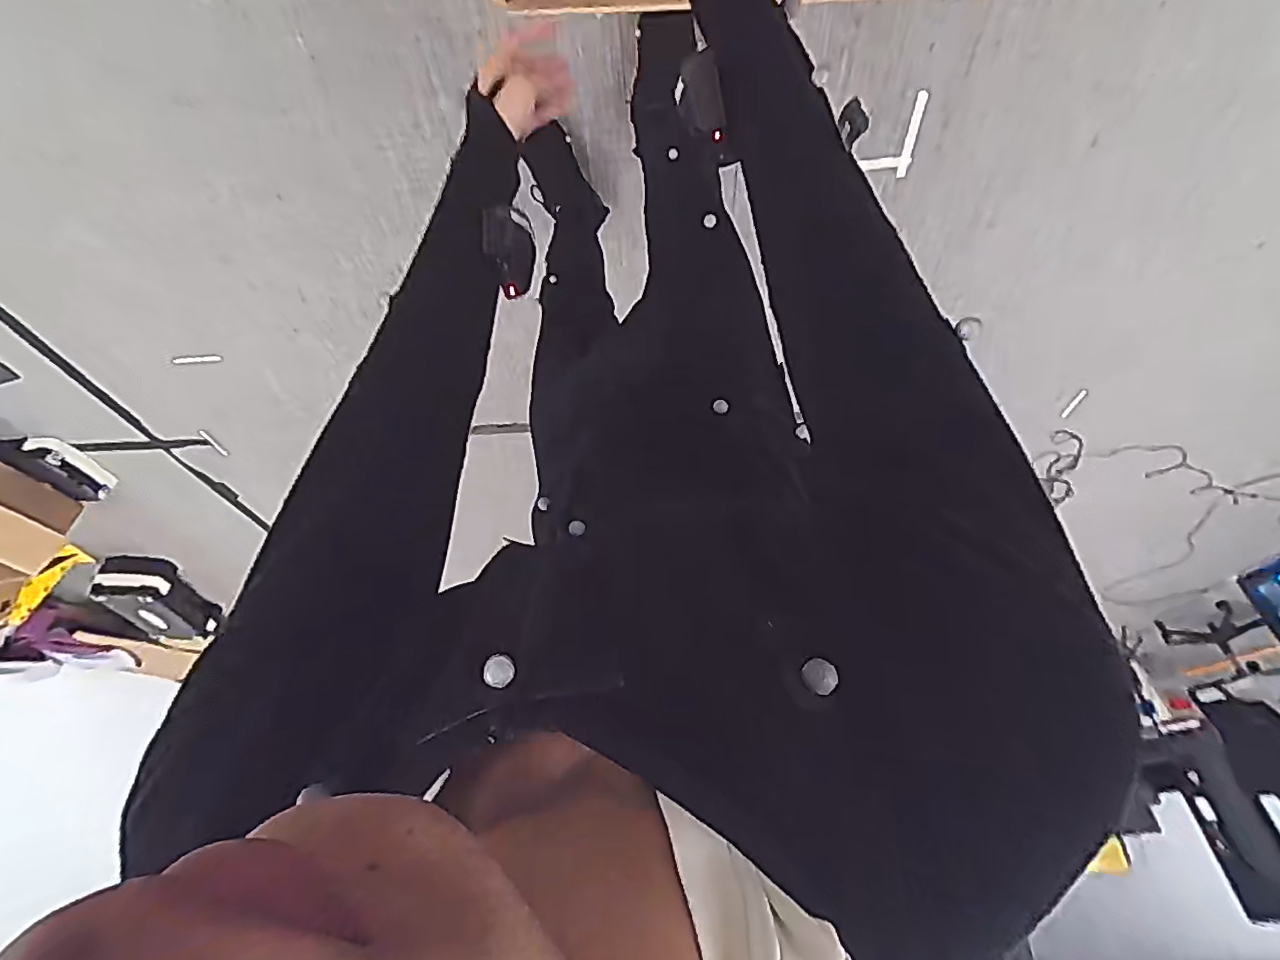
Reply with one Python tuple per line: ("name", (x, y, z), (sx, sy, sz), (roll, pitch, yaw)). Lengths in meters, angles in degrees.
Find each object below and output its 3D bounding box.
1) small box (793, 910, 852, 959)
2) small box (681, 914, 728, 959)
("small box", (0.692, 1.760, 2.066), (0.168, 0.176, 0.179), (-2, 145, 2))
("small box", (0.246, 1.785, 2.082), (0.168, 0.176, 0.179), (-2, 145, 0))
